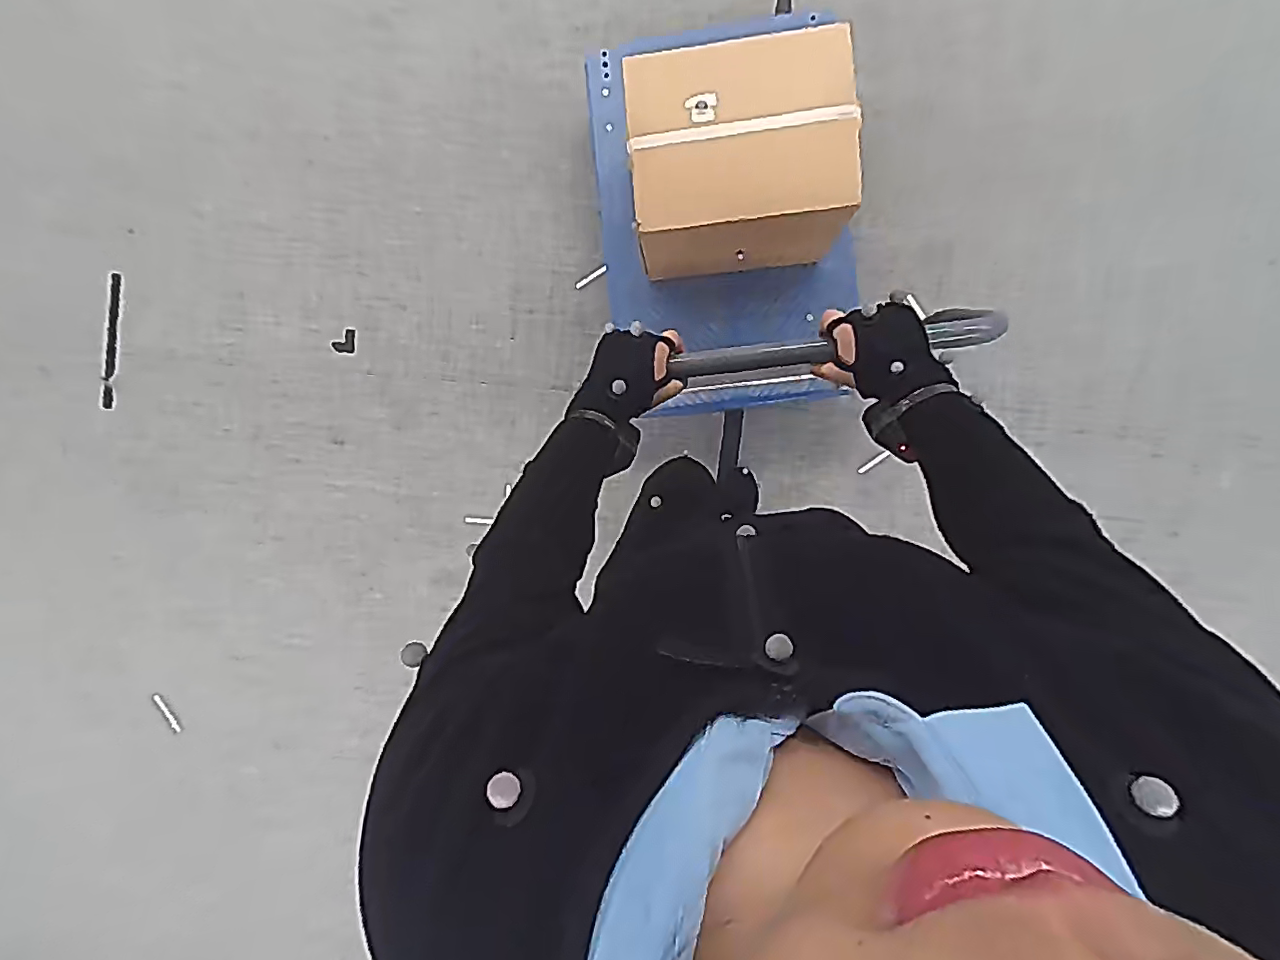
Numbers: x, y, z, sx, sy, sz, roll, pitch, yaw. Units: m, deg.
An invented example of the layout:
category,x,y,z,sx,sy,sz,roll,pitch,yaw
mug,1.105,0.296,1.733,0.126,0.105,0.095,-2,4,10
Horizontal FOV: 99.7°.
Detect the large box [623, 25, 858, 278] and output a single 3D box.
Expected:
category,x,y,z,sx,sy,sz,roll,pitch,yaw
large box,0.197,-0.643,1.130,0.408,0.320,0.320,-5,92,6
